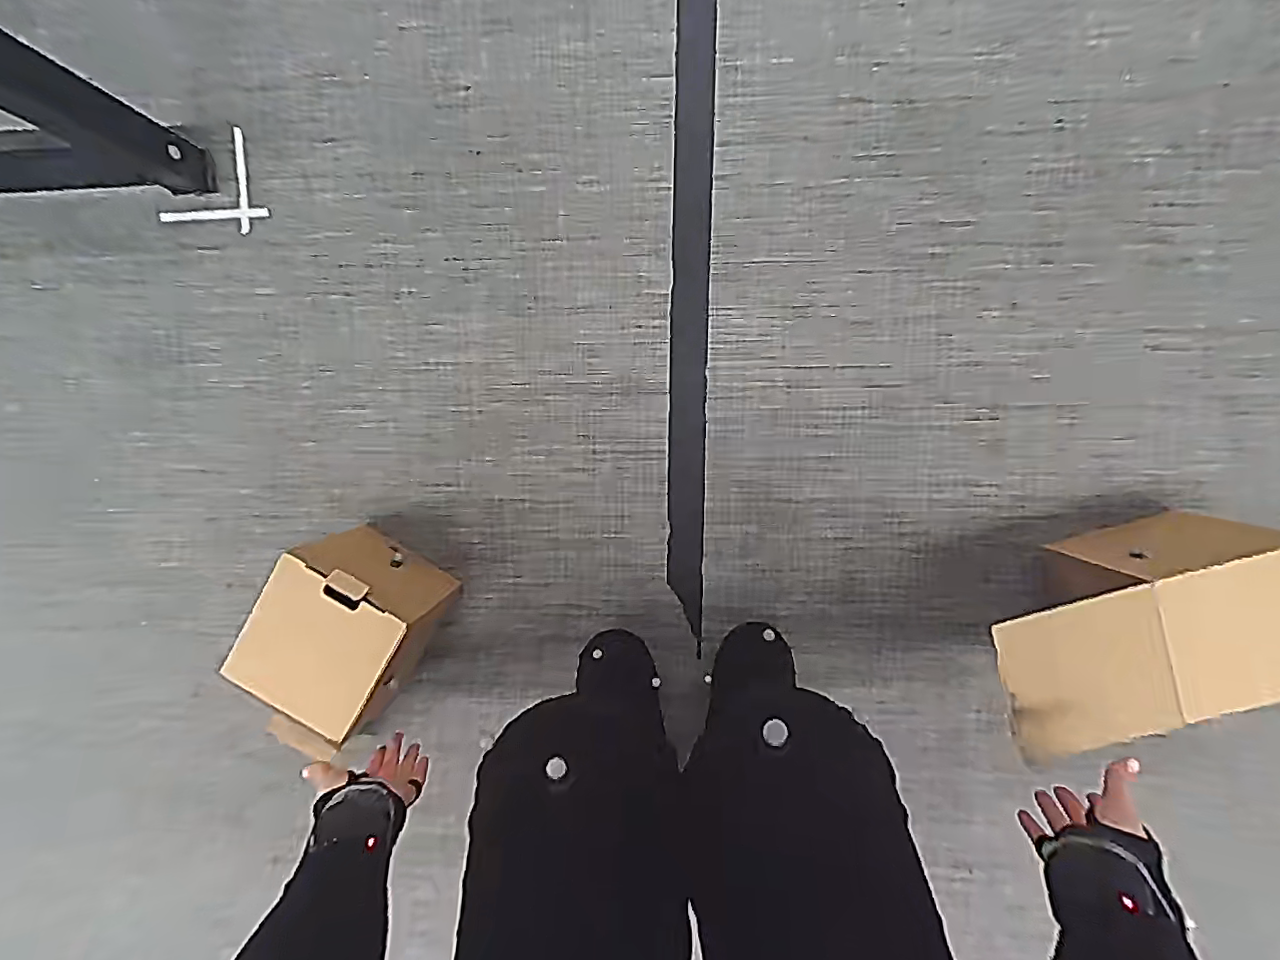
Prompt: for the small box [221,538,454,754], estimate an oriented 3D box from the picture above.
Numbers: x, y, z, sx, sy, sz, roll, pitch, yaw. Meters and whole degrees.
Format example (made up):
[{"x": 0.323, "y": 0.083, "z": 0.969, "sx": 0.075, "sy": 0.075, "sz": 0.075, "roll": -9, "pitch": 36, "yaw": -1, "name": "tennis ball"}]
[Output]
[{"x": -0.369, "y": 0.198, "z": 0.696, "sx": 0.168, "sy": 0.176, "sz": 0.179, "roll": 31, "pitch": 95, "yaw": -1, "name": "small box"}]
